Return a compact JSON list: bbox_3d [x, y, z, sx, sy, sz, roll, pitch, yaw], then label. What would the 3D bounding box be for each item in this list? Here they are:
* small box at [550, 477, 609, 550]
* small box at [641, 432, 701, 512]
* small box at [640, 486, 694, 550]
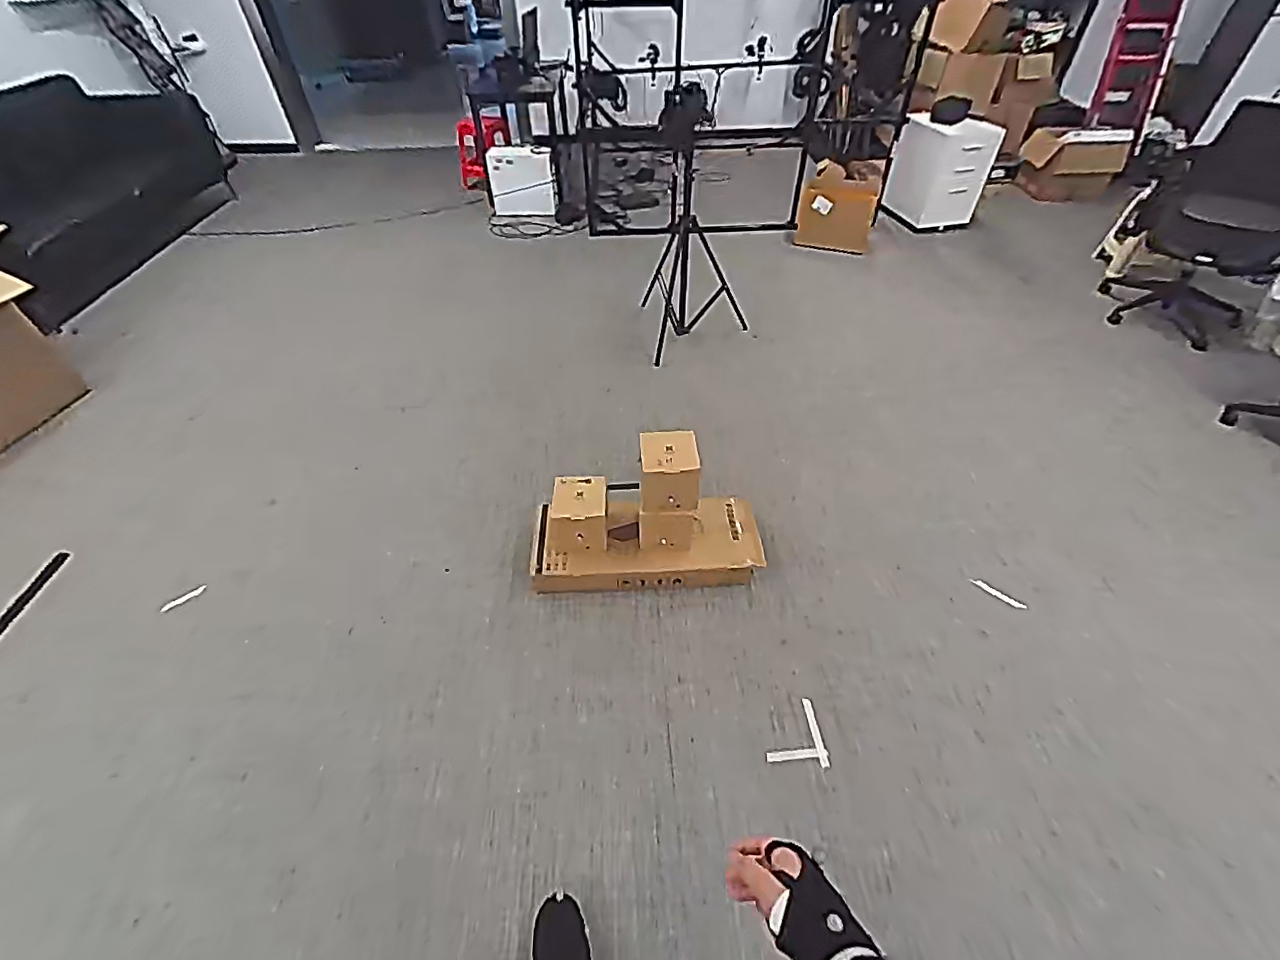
[{"bbox_3d":[-0.186,0.112,1.728,0.168,0.176,0.179,-3,46,0],"label":"small box"},{"bbox_3d":[0.087,-0.024,1.629,0.168,0.176,0.179,-3,45,-1],"label":"small box"},{"bbox_3d":[0.084,0.104,1.735,0.168,0.176,0.179,0,46,2],"label":"small box"}]
